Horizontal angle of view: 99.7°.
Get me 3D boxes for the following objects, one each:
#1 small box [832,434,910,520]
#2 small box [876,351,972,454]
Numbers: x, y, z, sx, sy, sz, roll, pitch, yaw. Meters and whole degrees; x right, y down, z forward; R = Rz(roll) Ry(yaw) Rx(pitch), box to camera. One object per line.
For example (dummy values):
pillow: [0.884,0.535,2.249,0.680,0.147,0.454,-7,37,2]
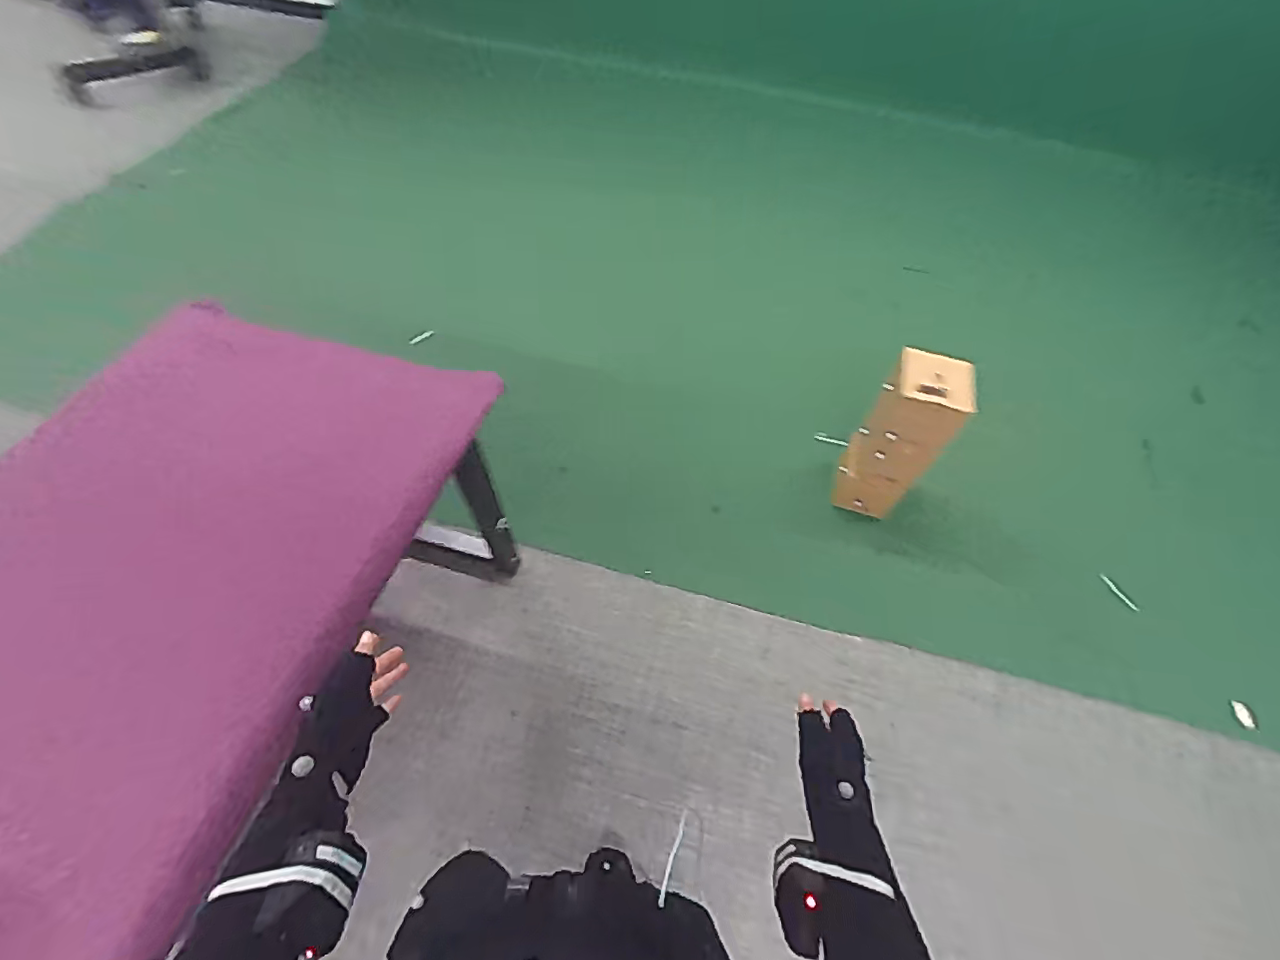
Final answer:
small box: [0.703,-0.005,1.656,0.168,0.176,0.179,17,59,8]
small box: [0.722,-0.194,1.386,0.168,0.176,0.179,16,57,7]
